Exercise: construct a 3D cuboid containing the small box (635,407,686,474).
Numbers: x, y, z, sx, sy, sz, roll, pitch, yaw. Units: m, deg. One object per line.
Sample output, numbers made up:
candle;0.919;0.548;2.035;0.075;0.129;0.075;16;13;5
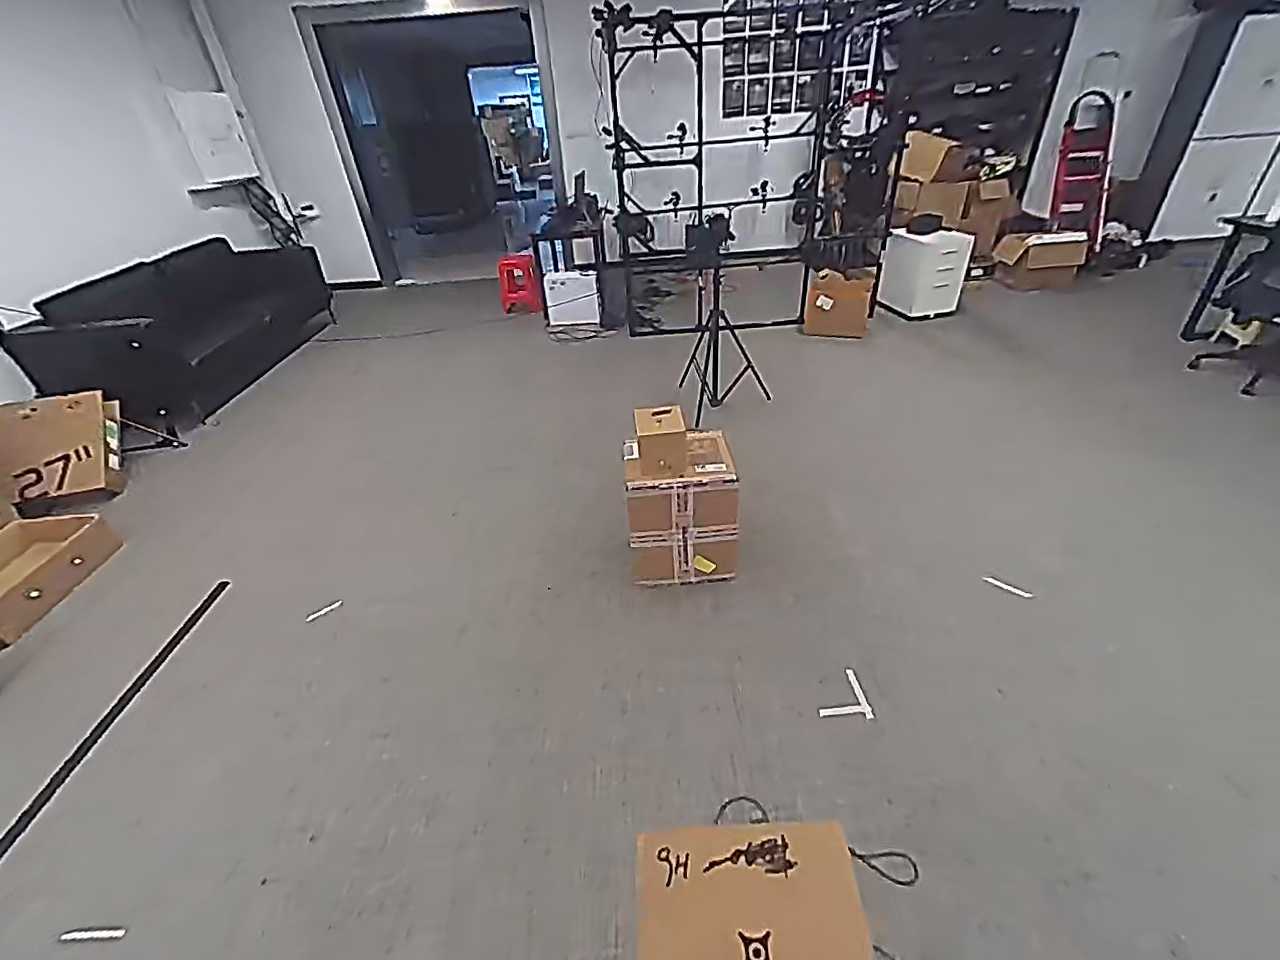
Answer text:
small box;0.073;-0.140;1.915;0.168;0.176;0.179;-6;38;0
